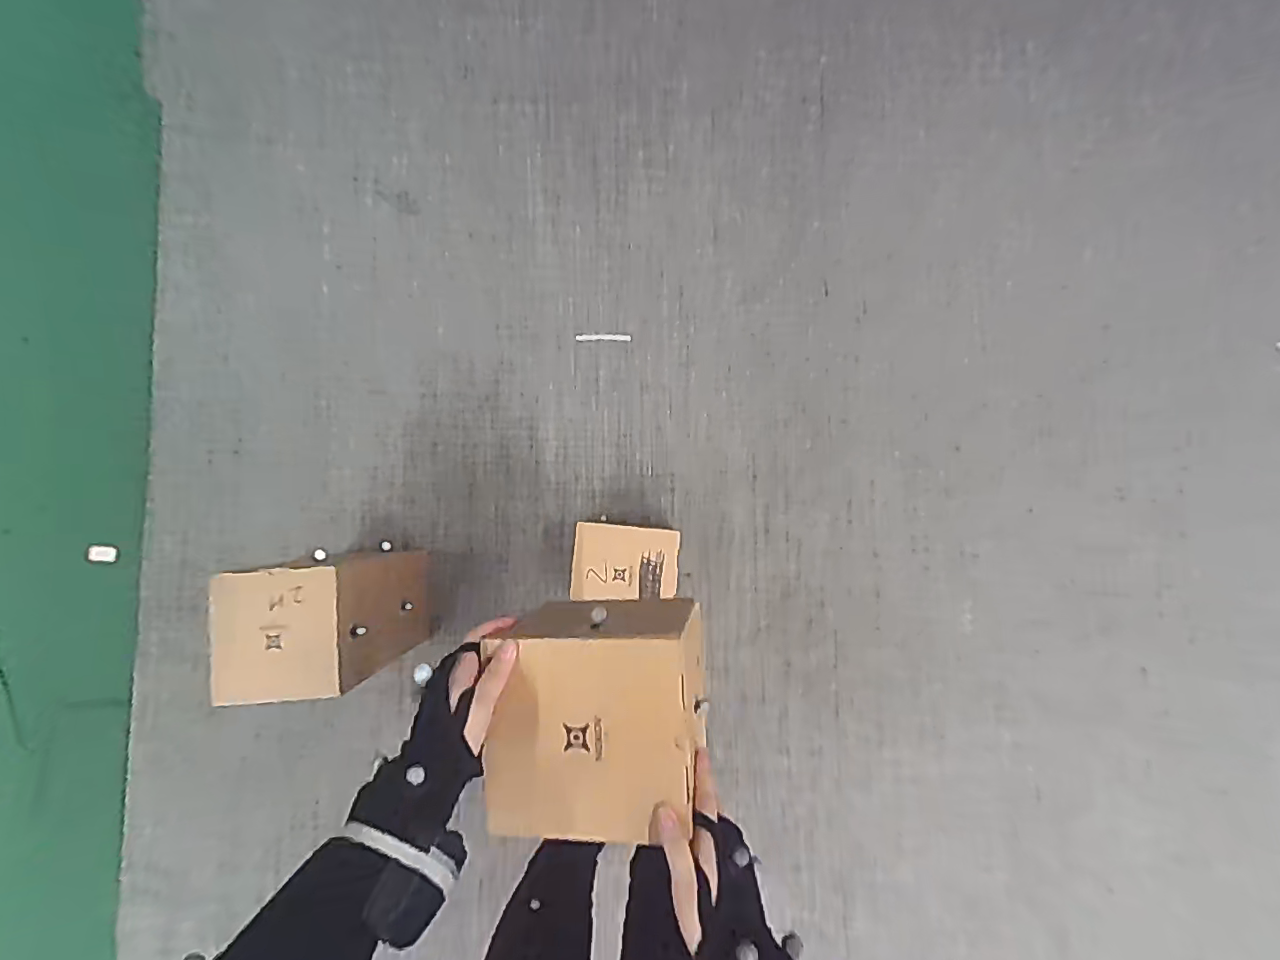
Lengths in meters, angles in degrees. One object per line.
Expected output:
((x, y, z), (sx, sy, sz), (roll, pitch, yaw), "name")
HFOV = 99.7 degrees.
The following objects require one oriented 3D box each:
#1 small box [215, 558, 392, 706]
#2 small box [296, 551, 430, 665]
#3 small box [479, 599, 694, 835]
((-0.484, 0.214, 0.800), (0.168, 0.176, 0.179), (-3, 86, -2), "small box")
((-0.485, 0.222, 0.964), (0.168, 0.176, 0.179), (-2, 86, -1), "small box")
((-0.042, 0.216, 0.540), (0.179, 0.176, 0.168), (-3, 88, 9), "small box")
